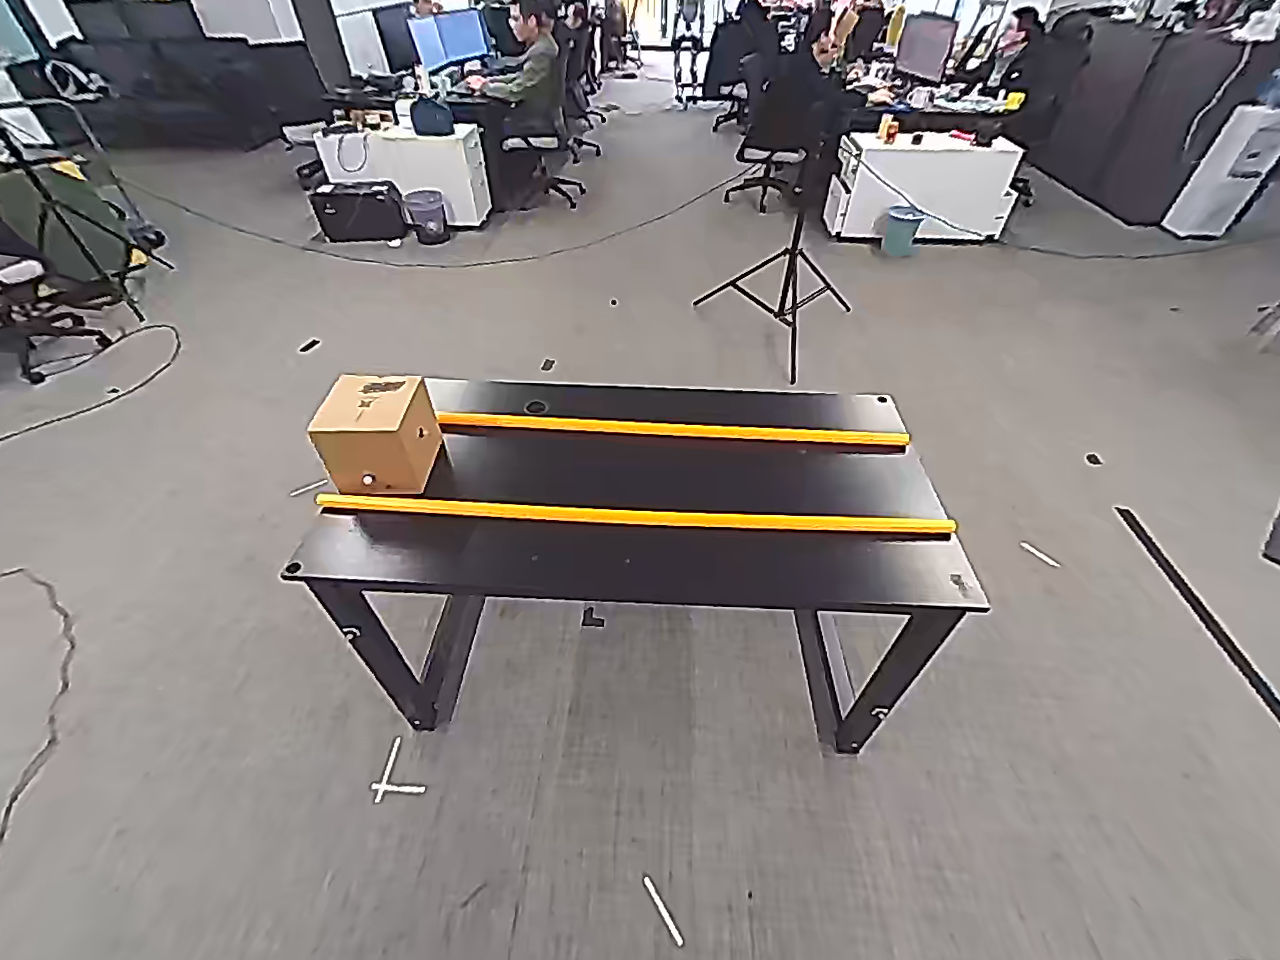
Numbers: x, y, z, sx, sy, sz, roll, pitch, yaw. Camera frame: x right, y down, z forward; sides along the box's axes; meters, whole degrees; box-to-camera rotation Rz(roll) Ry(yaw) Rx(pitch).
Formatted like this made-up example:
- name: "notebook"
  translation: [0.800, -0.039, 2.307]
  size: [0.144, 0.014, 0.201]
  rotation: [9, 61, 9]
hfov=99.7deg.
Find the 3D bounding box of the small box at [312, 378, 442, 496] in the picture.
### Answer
- name: "small box"
  translation: [-0.512, -0.087, 1.087]
  size: [0.168, 0.176, 0.179]
  rotation: [-1, 45, -1]
